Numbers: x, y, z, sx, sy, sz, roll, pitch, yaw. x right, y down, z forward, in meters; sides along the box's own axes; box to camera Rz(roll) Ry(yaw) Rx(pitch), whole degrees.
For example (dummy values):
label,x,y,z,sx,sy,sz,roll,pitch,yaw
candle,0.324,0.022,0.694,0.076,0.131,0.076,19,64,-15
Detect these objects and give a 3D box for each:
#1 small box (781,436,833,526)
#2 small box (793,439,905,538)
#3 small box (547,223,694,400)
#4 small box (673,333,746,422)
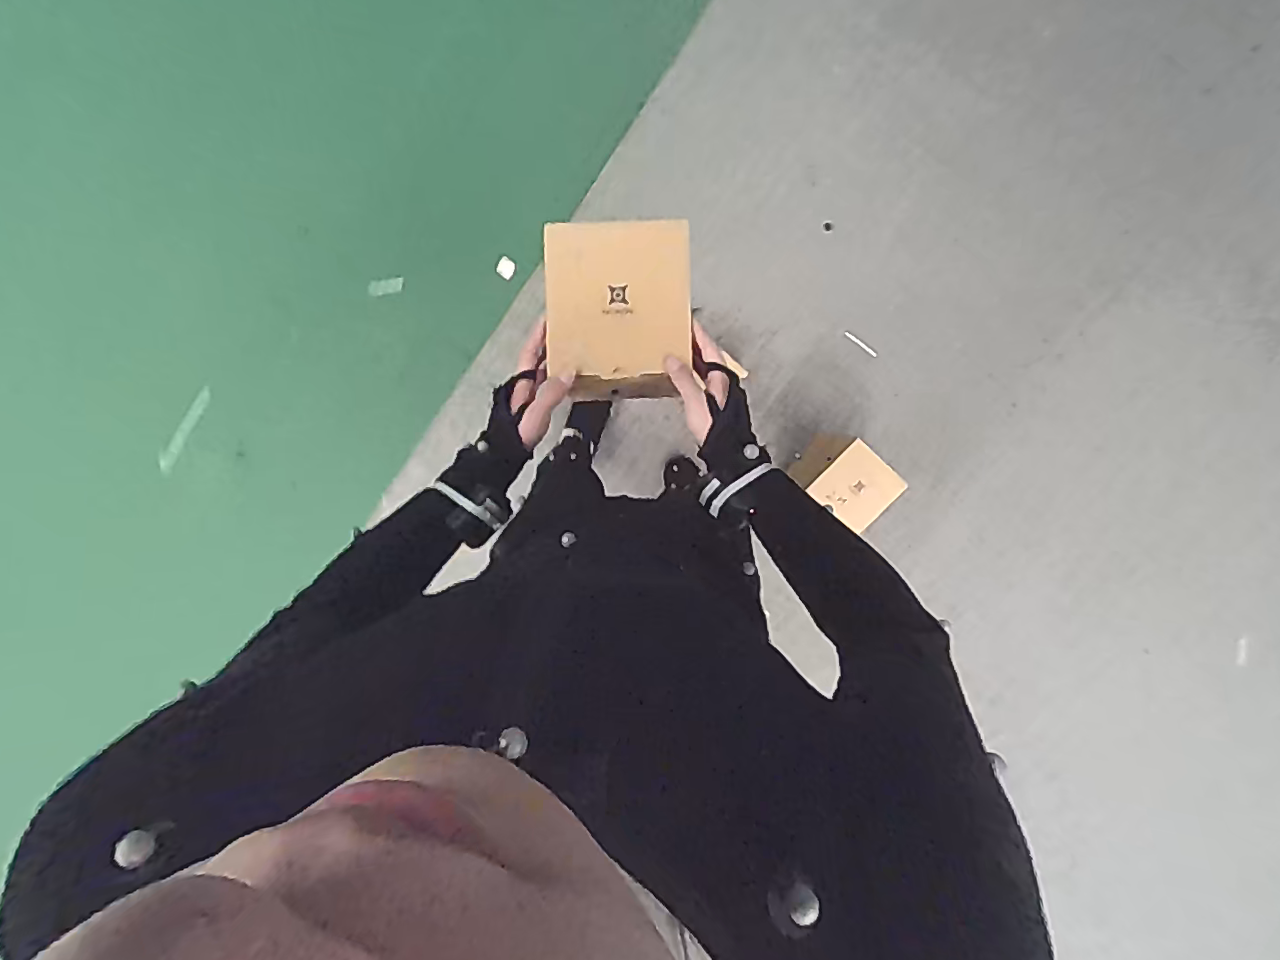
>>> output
label,x,y,z,sx,sy,sz,roll,pitch,yaw
small box,0.512,-0.004,1.504,0.168,0.176,0.179,40,100,-2
small box,0.506,0.011,1.340,0.168,0.176,0.179,44,99,-1
small box,-0.021,-0.203,0.690,0.168,0.176,0.179,-2,92,1
small box,0.173,-0.280,1.509,0.168,0.176,0.179,43,98,-3
